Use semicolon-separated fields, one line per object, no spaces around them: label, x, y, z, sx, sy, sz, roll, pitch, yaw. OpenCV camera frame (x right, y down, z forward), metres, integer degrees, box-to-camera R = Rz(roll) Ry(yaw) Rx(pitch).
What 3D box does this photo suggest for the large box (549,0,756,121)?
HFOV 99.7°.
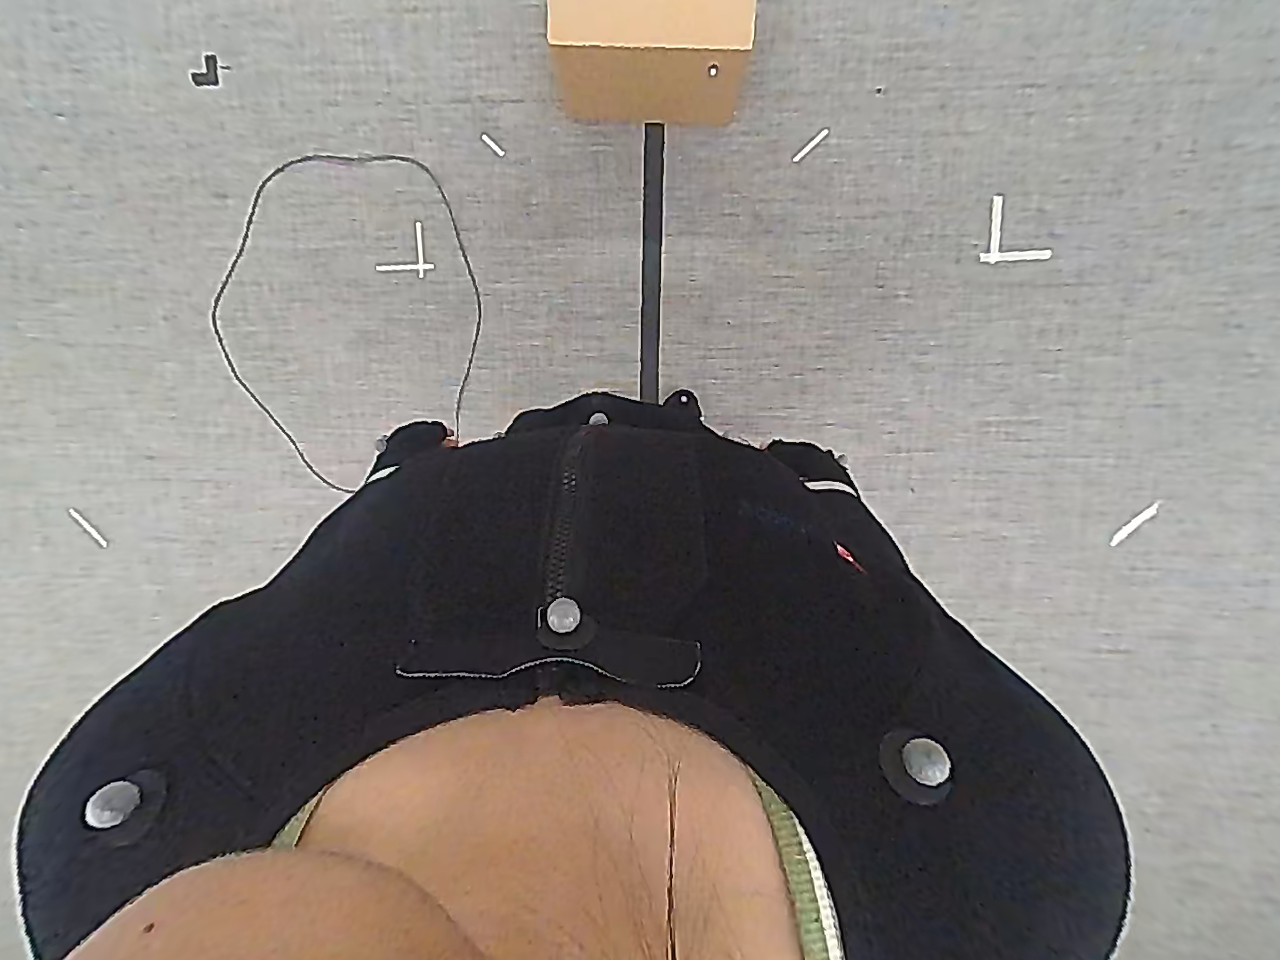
large box;0.029;-1.016;1.173;0.408;0.320;0.320;2;99;1
